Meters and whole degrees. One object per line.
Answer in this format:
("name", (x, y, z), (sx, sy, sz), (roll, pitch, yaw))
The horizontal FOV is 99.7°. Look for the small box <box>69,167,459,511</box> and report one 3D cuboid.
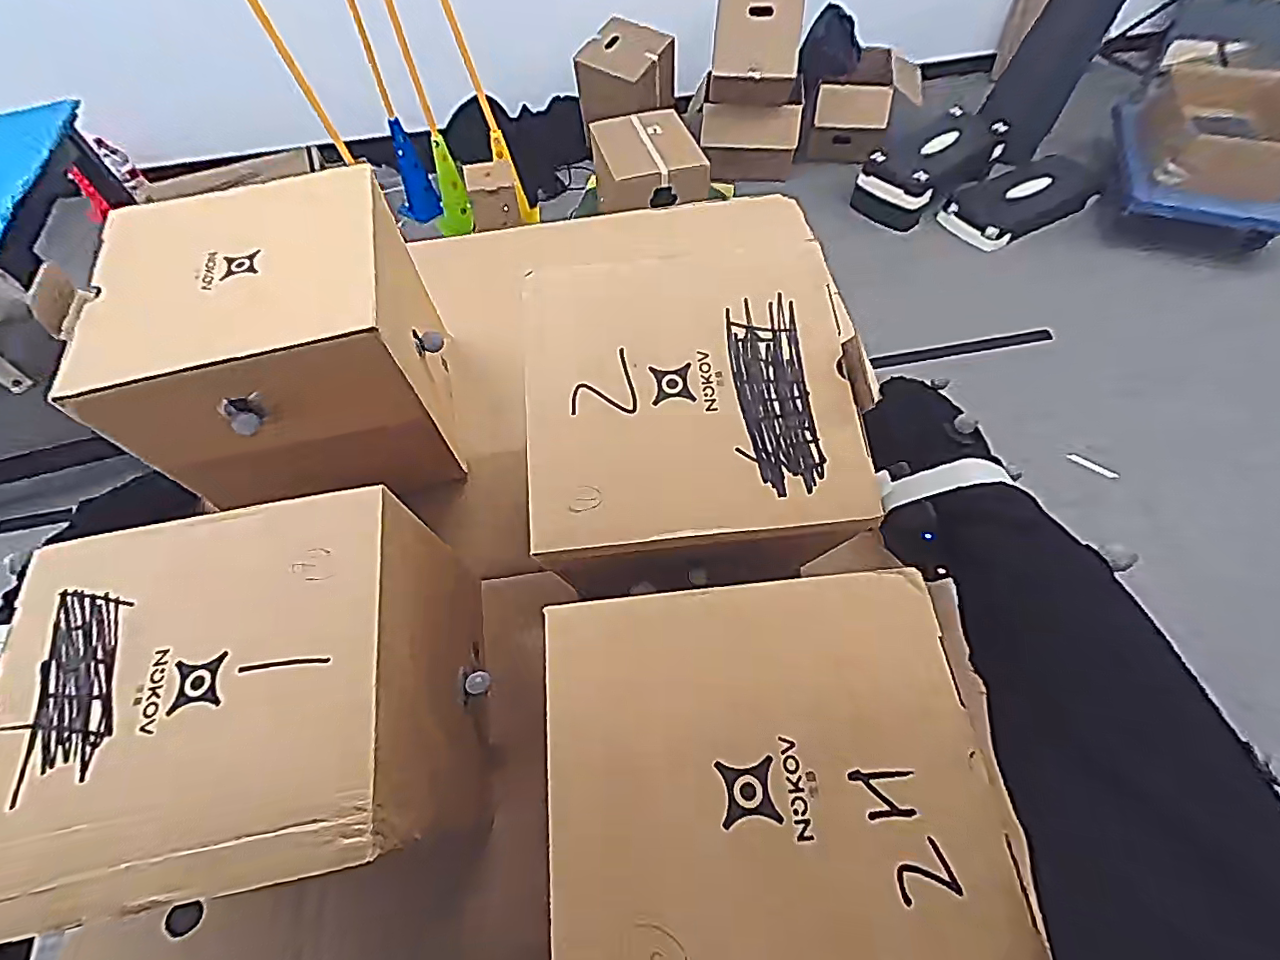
("small box", (-0.249, -0.097, 0.414), (0.179, 0.176, 0.168), (-14, 61, -5))
